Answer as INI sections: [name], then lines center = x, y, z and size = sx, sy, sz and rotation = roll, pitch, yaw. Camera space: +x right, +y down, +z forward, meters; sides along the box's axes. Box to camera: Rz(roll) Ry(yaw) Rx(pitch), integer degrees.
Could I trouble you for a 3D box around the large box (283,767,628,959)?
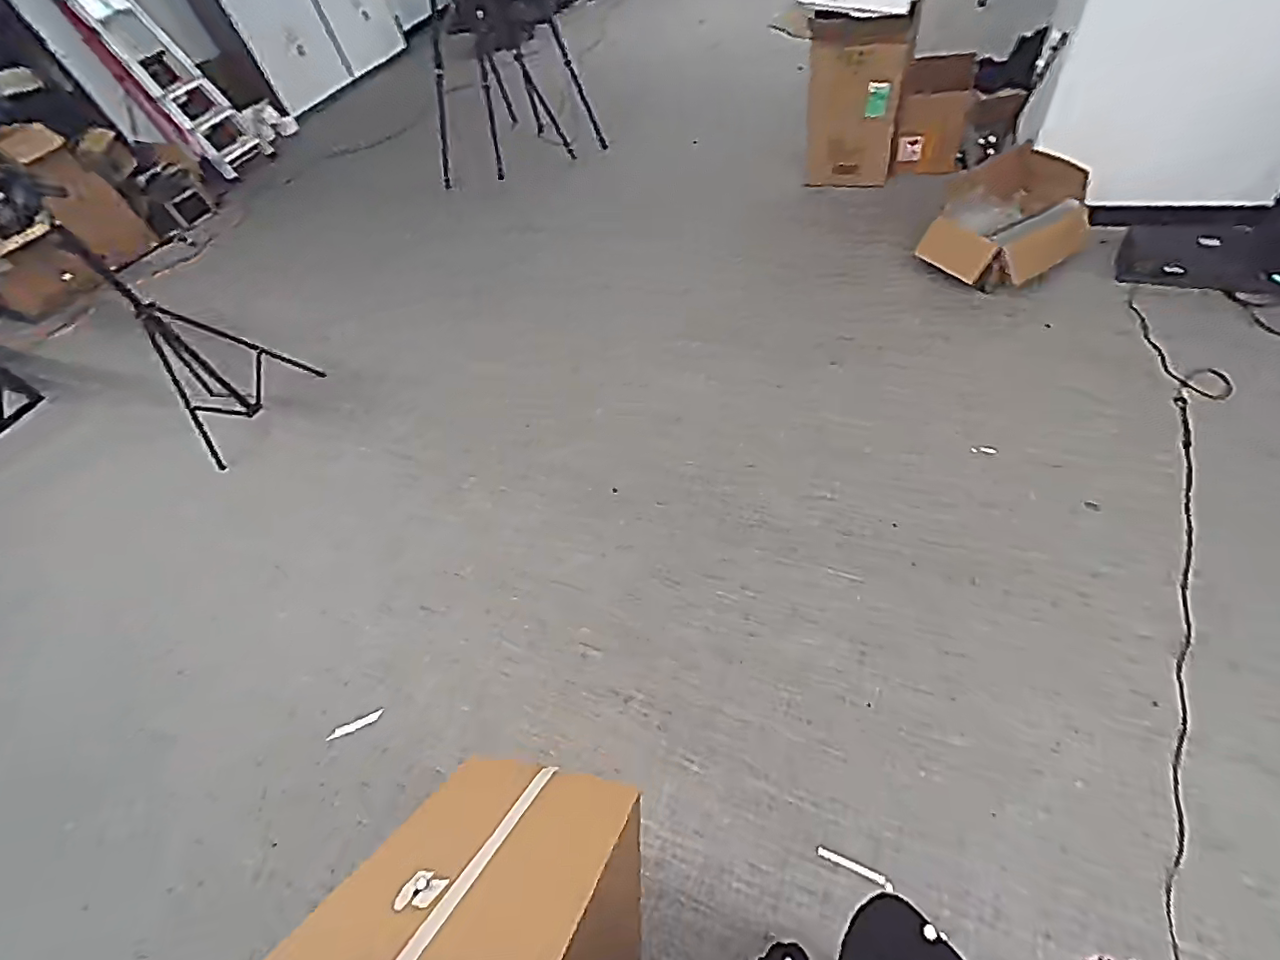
[large box]
center = -0.216, 0.681, 0.741
size = 0.320, 0.408, 0.320
rotation = 1, 97, 17
